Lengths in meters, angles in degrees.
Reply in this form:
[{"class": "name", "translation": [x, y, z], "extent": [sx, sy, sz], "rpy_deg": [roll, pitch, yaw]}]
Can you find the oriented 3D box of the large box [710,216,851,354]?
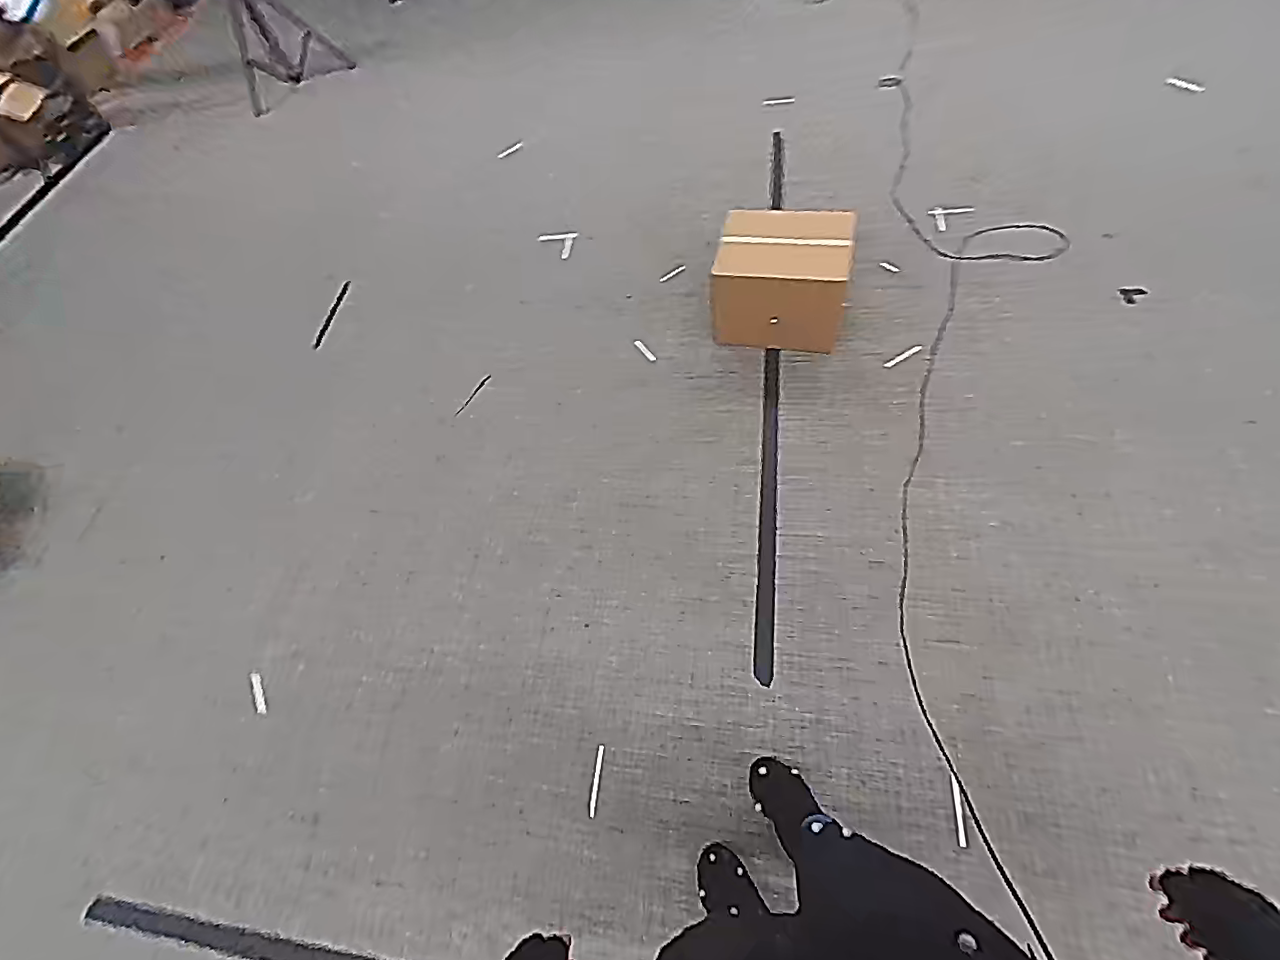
[{"class": "large box", "translation": [0.459, -0.647, 1.805], "extent": [0.408, 0.320, 0.320], "rpy_deg": [8, 63, 14]}]
